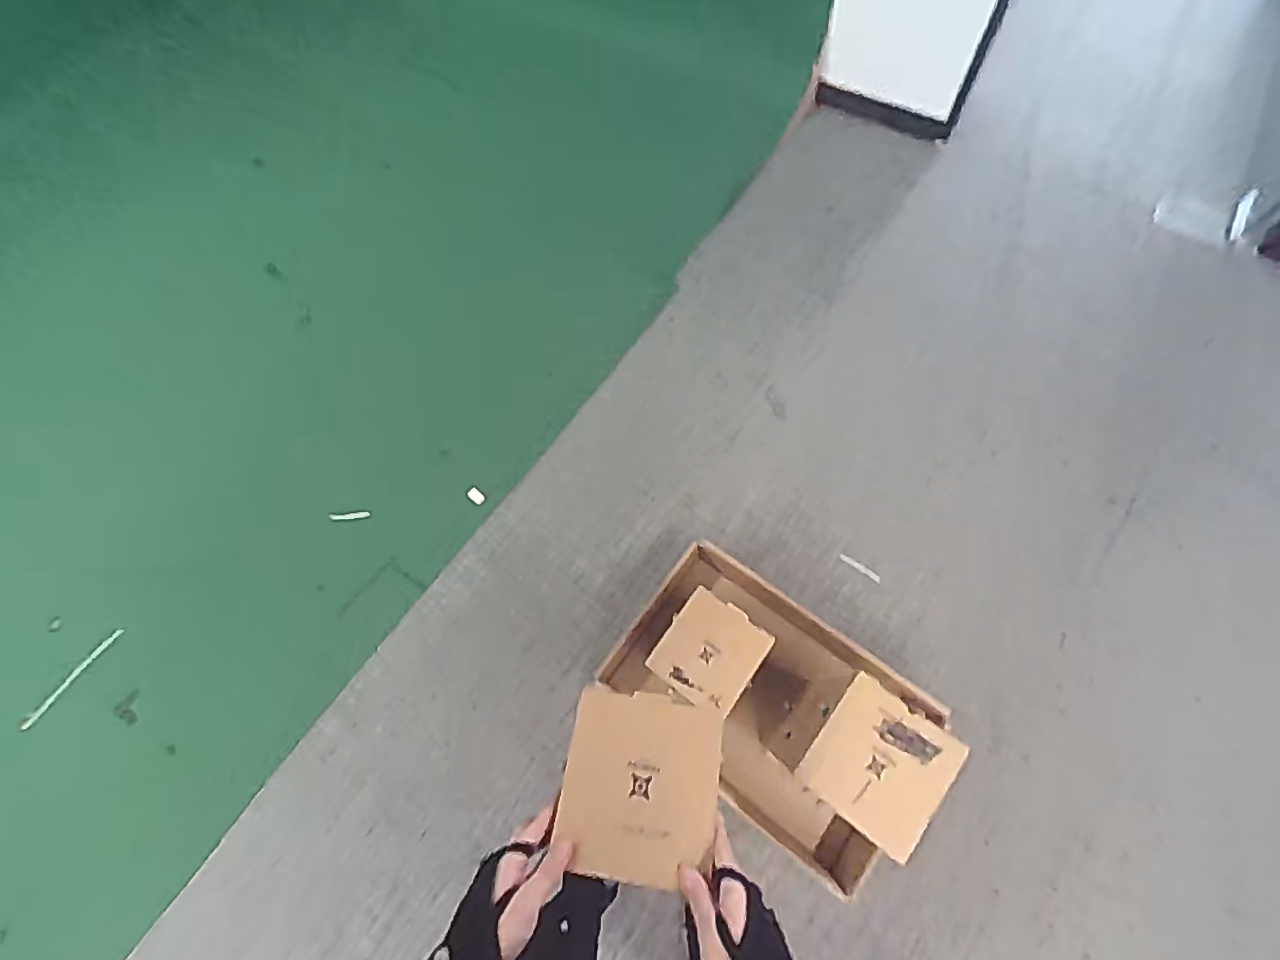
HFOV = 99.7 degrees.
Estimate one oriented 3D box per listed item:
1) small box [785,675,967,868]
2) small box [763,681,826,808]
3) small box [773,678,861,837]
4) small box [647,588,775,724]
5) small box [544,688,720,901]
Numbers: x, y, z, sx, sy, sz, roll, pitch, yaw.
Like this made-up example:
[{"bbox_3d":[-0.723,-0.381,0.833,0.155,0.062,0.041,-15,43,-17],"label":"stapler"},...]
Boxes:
[{"bbox_3d":[0.333,0.414,0.803,0.168,0.176,0.179,36,78,19],"label":"small box"},{"bbox_3d":[0.367,0.538,1.106,0.168,0.176,0.179,36,77,19],"label":"small box"},{"bbox_3d":[0.350,0.476,0.954,0.168,0.176,0.179,36,77,19],"label":"small box"},{"bbox_3d":[0.132,0.335,1.031,0.168,0.176,0.179,34,76,18],"label":"small box"},{"bbox_3d":[-0.006,0.365,0.638,0.168,0.176,0.179,8,58,3],"label":"small box"}]
